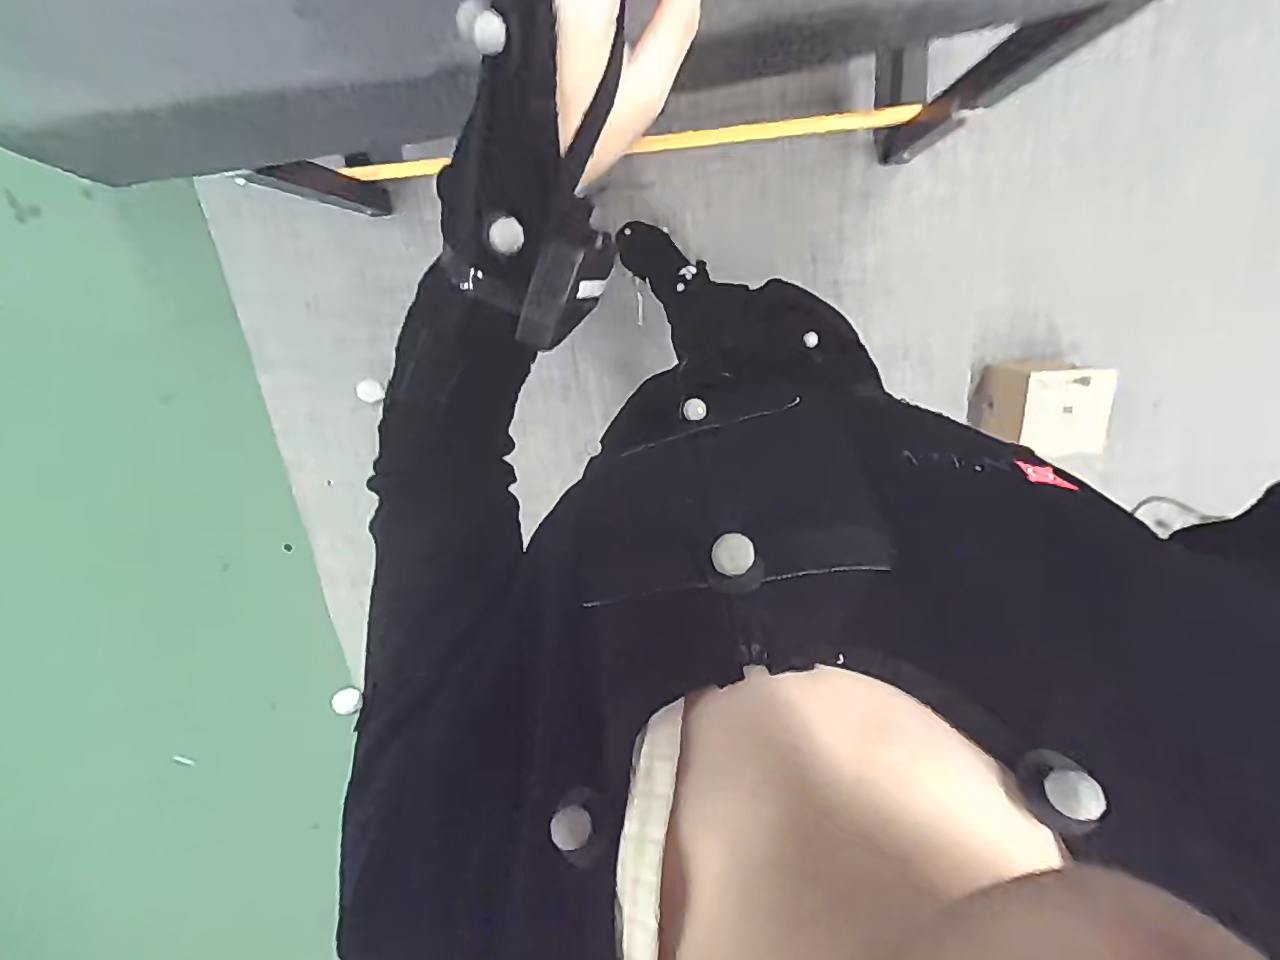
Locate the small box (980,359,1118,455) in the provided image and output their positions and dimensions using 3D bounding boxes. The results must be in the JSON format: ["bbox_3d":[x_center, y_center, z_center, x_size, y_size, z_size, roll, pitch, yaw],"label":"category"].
[{"bbox_3d":[0.867,-0.161,1.168,0.168,0.176,0.179,-1,109,6],"label":"small box"}]
